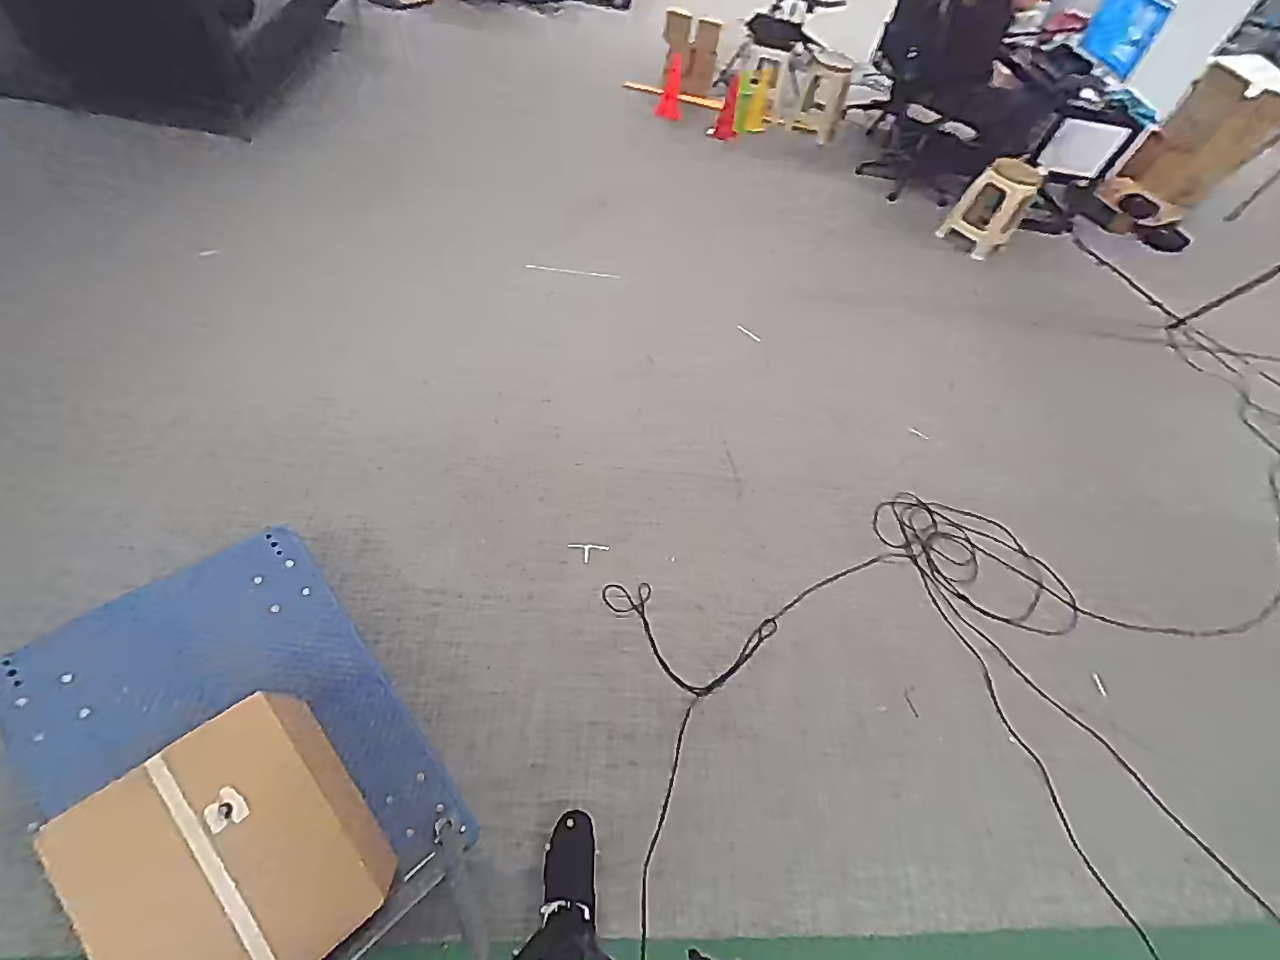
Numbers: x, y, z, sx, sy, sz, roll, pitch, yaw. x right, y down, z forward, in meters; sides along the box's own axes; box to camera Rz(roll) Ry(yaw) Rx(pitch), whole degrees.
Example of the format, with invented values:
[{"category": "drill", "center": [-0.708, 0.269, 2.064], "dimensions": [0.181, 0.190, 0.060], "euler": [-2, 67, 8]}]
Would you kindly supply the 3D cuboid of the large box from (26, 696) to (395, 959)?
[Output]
[{"category": "large box", "center": [-0.687, 0.650, 0.938], "dimensions": [0.320, 0.320, 0.408], "euler": [-32, 78, -30]}]
